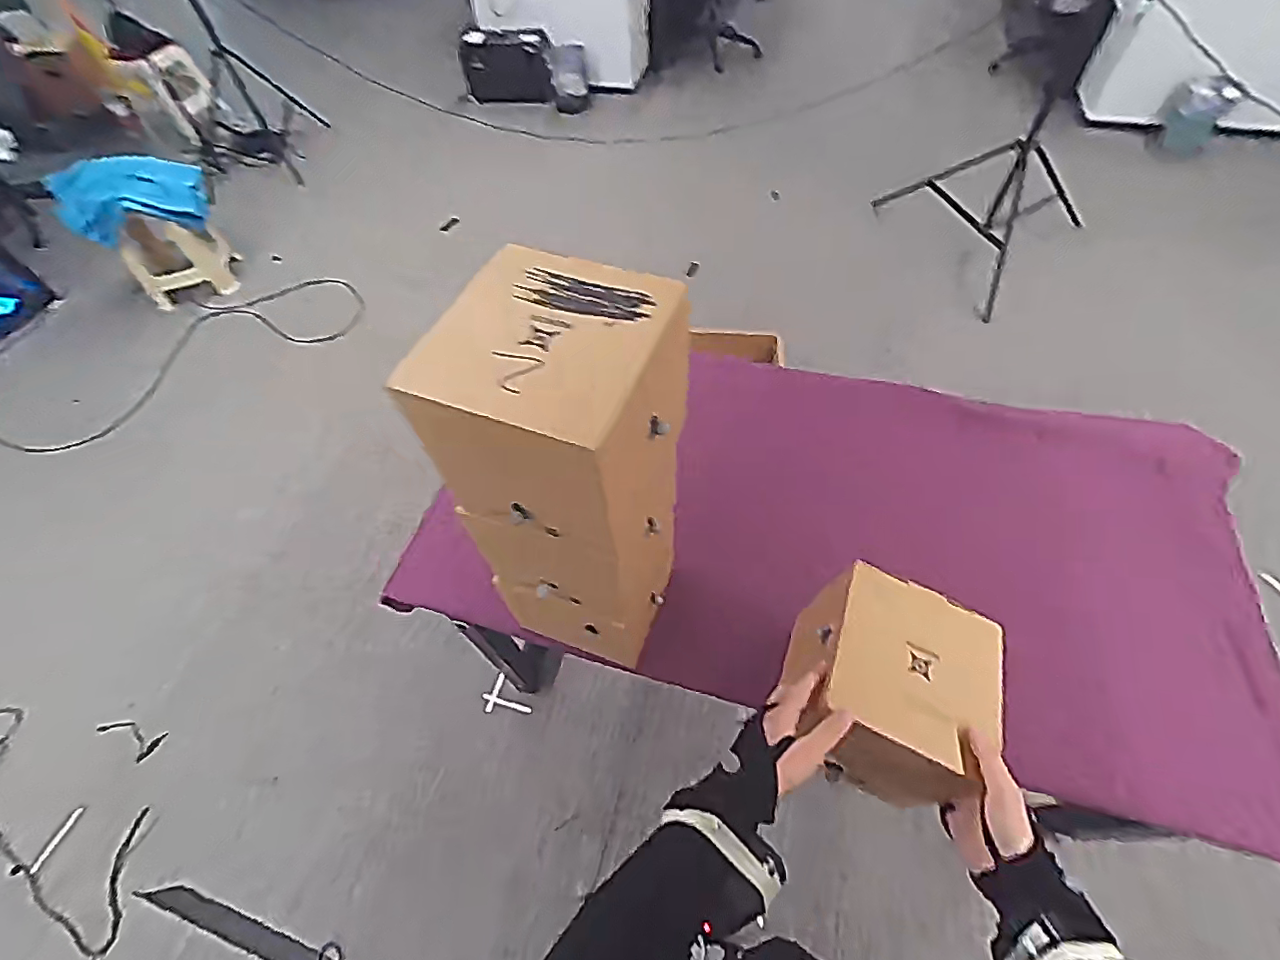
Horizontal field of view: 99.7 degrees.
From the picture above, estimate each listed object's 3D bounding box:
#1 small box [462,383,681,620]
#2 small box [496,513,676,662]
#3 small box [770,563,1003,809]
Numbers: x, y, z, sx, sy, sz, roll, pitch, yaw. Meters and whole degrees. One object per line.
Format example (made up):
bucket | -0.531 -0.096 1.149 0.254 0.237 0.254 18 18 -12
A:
small box | -0.061 0.027 0.597 0.168 0.176 0.179 16 59 14
small box | -0.059 0.126 0.728 0.179 0.176 0.168 16 58 14
small box | 0.261 0.229 0.594 0.168 0.176 0.179 25 54 7
